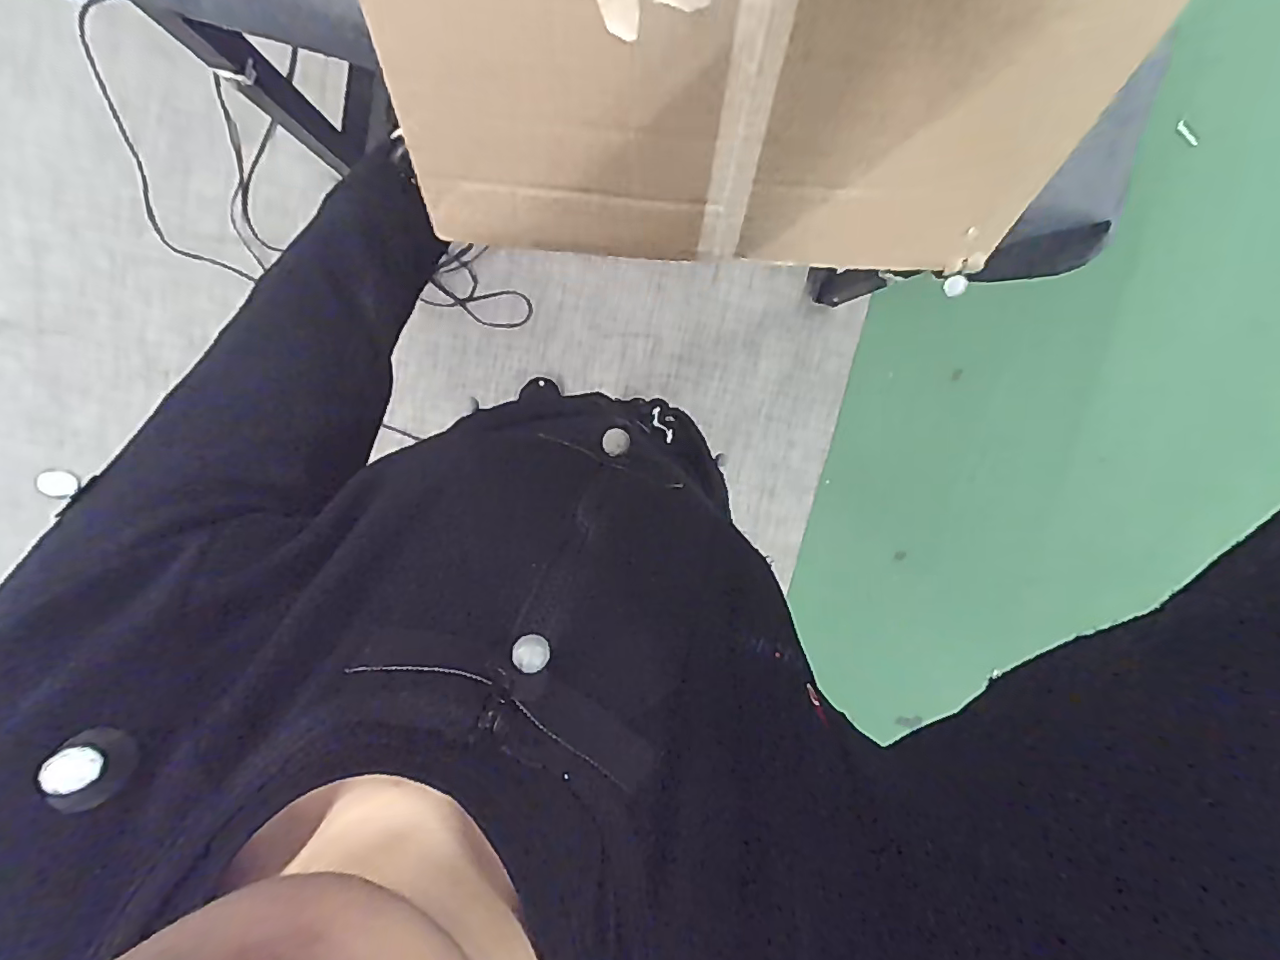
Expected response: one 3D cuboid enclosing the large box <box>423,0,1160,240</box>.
[{"bbox_3d":[0.066,-0.370,0.209,0.320,0.408,0.320,2,65,-2],"label":"large box"}]
